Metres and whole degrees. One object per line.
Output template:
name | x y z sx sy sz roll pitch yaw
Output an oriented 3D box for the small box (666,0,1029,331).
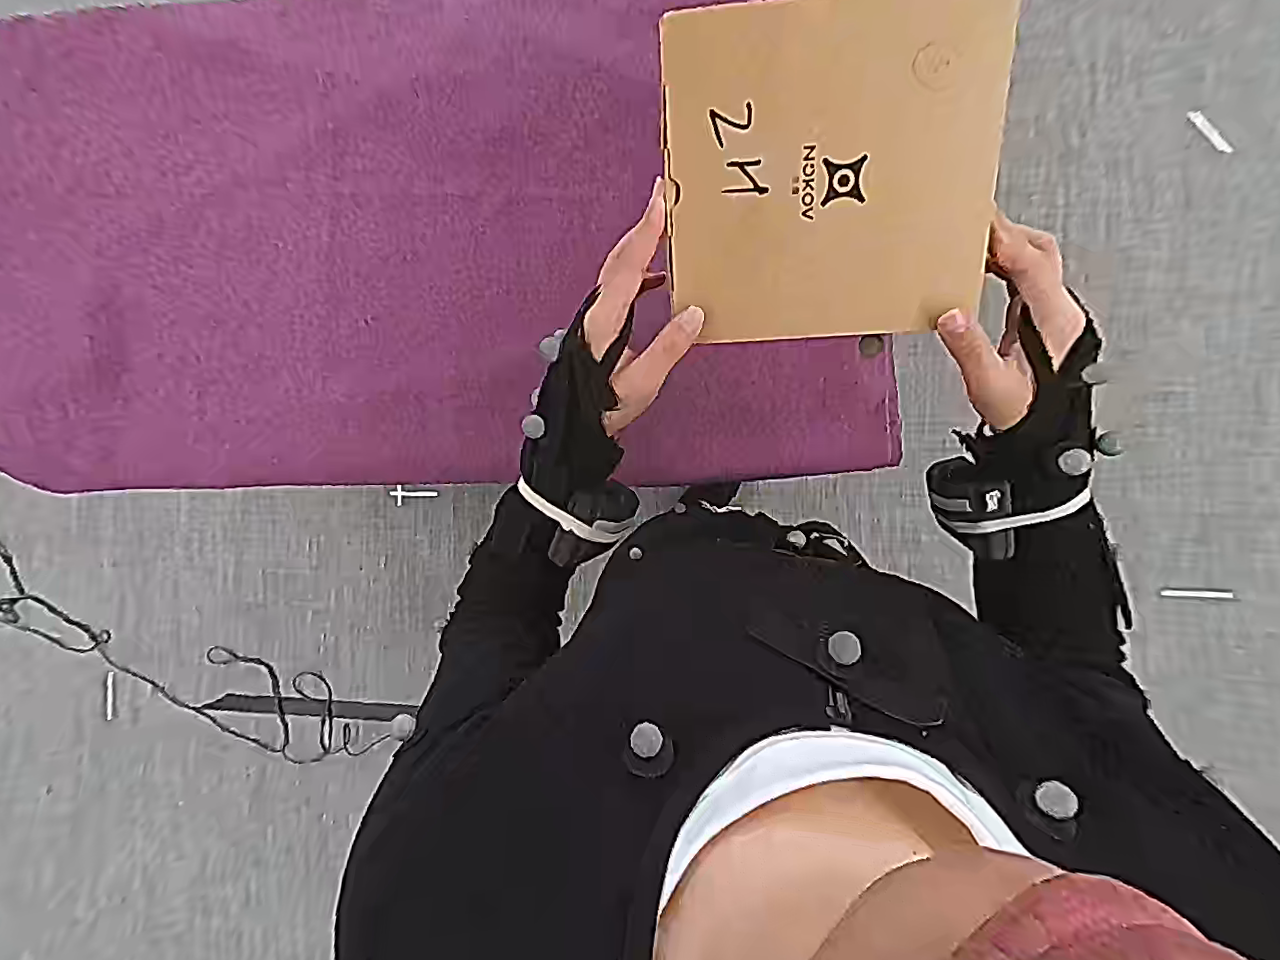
small box | 0.109 -0.192 0.361 0.179 0.176 0.168 -1 108 6
